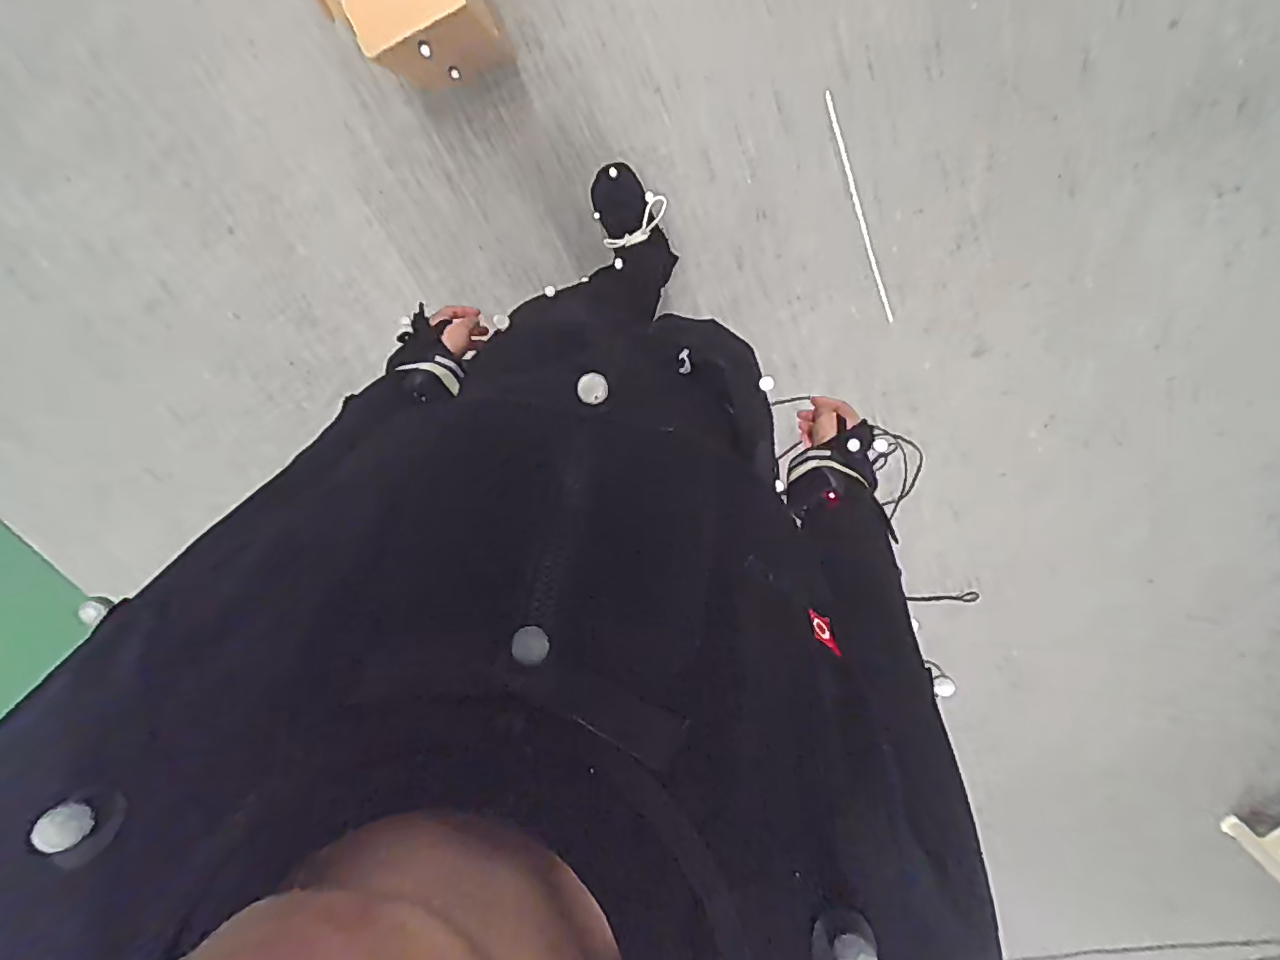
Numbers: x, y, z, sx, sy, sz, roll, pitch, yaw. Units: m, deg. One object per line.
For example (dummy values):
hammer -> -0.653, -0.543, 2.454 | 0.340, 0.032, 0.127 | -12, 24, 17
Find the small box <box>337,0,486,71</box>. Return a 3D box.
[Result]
small box -> -0.352, -0.757, 0.813 | 0.179, 0.176, 0.168 | -18, 115, 12

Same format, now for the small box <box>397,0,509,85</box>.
small box -> -0.361, -0.837, 0.956 | 0.179, 0.176, 0.168 | -18, 115, 13
